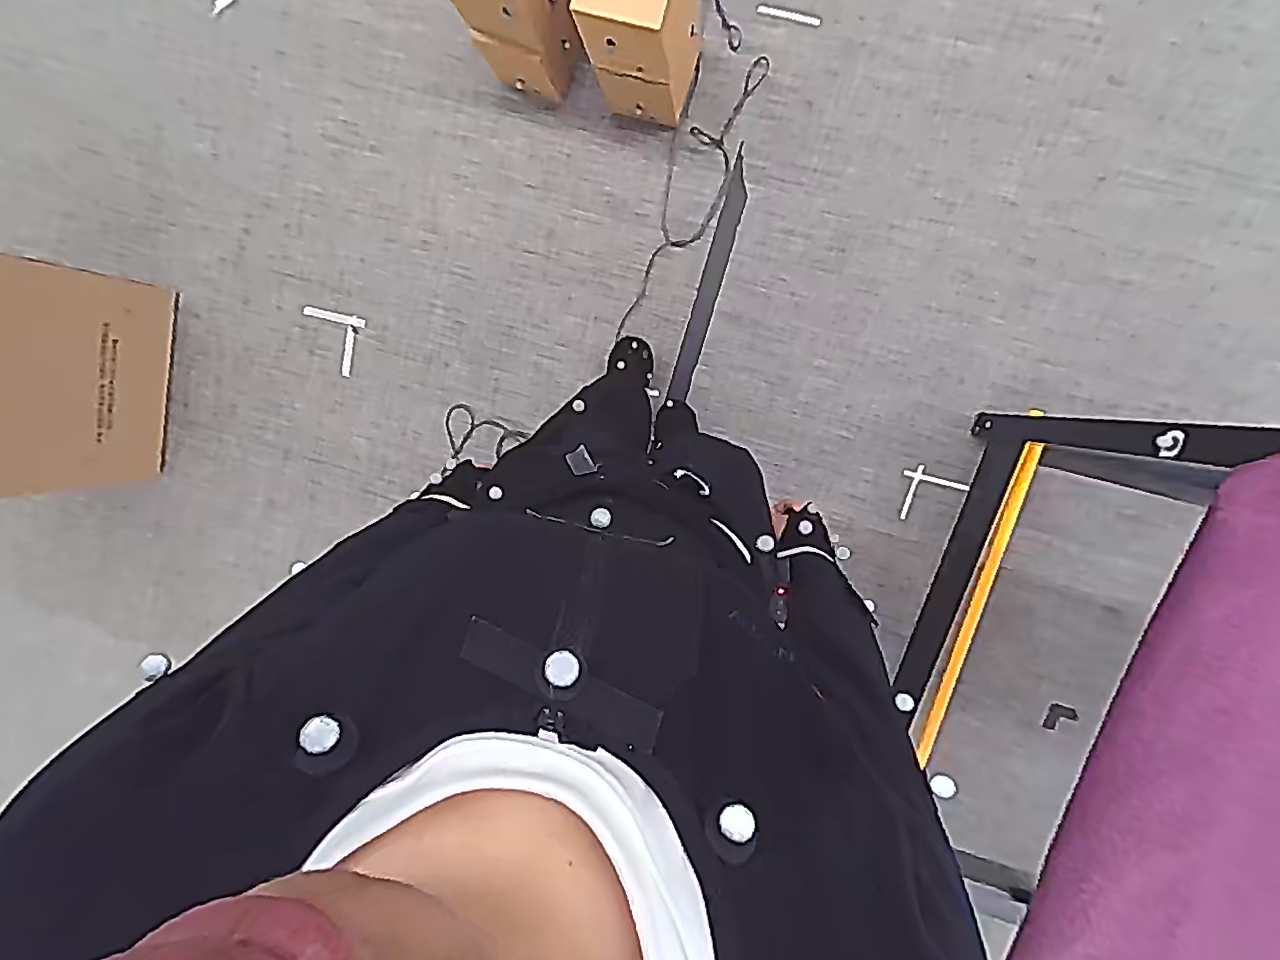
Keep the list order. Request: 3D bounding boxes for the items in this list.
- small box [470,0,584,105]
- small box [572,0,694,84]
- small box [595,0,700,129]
[{"bbox_3d":[-0.231,-0.960,1.157,0.168,0.176,0.179,24,102,4],"label":"small box"},{"bbox_3d":[-0.004,-0.864,0.975,0.168,0.176,0.179,18,99,6],"label":"small box"},{"bbox_3d":[0.022,-0.886,1.134,0.168,0.176,0.179,19,101,6],"label":"small box"}]
